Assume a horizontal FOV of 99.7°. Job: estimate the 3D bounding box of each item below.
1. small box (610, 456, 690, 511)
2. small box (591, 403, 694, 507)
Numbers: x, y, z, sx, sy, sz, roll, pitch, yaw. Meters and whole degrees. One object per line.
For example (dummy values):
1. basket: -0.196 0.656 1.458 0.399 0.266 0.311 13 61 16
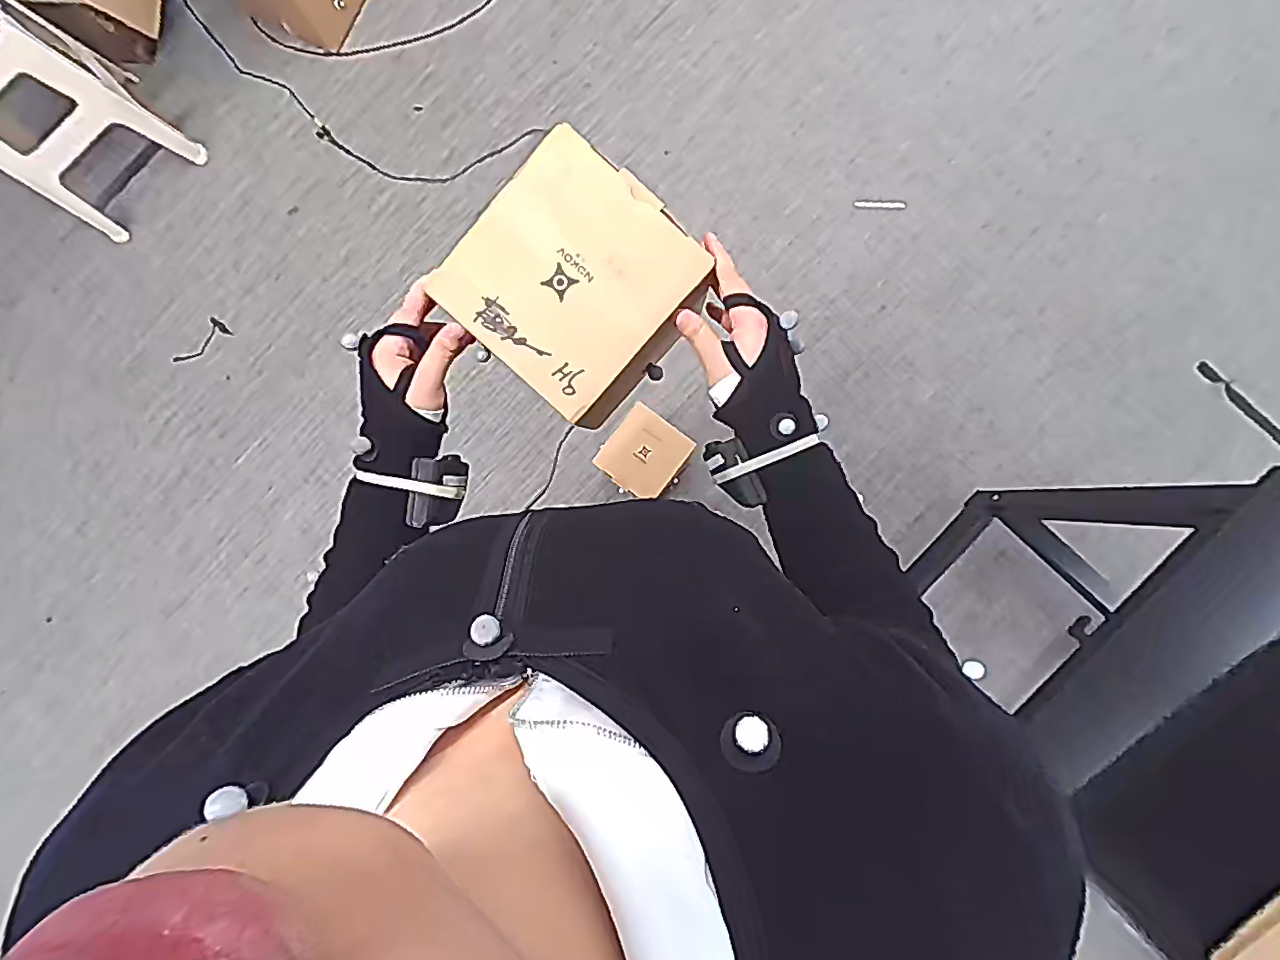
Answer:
1. small box: 0.013 -0.037 1.433 0.168 0.176 0.179 40 90 4
2. small box: 0.008 -0.051 1.272 0.168 0.176 0.179 37 88 3
